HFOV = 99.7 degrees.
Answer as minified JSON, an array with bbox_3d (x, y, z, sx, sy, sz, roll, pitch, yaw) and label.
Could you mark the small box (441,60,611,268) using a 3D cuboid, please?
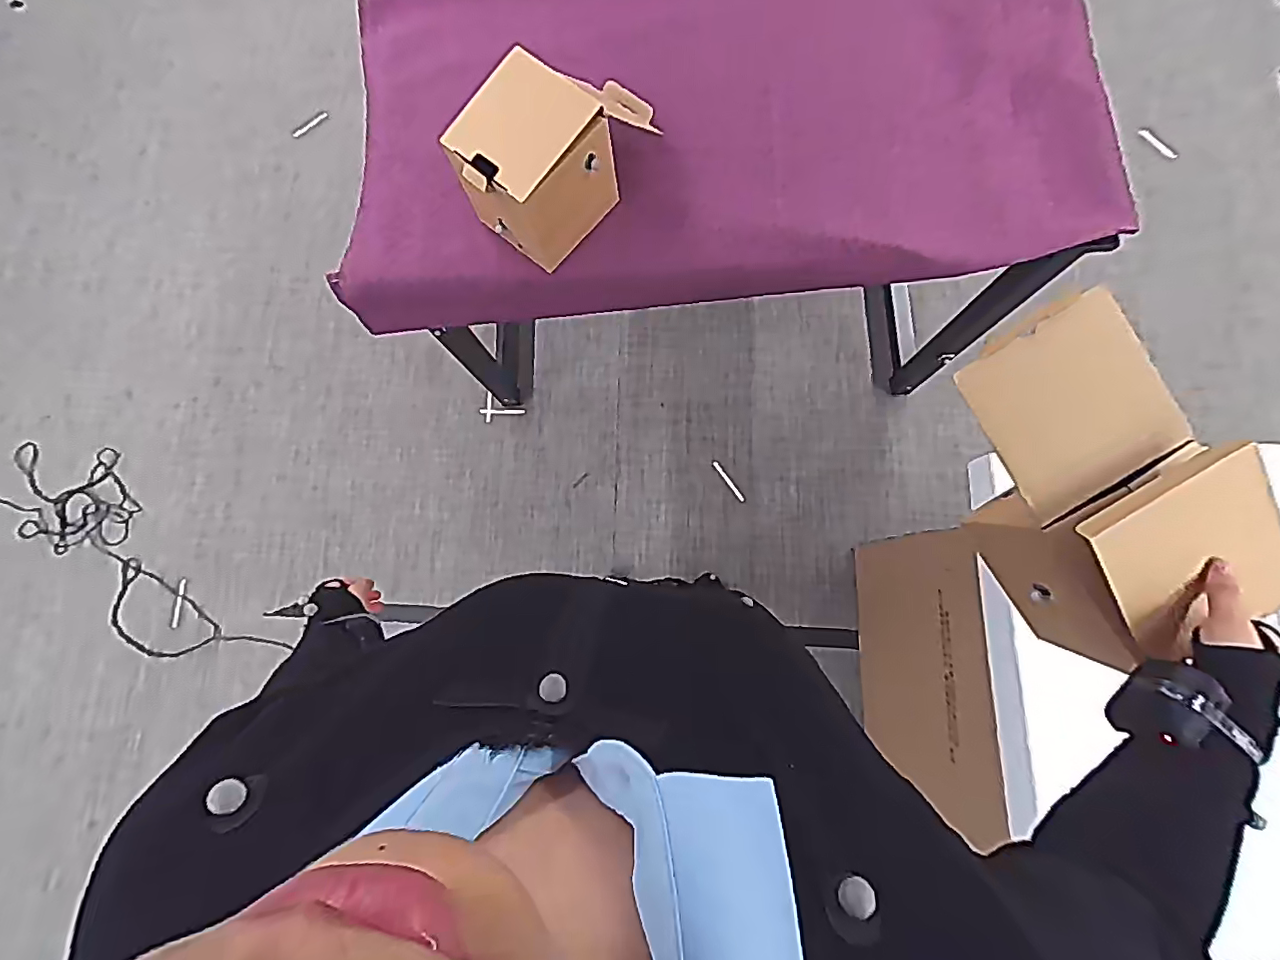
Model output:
[{"bbox_3d":[-0.158,-0.469,0.825,0.168,0.176,0.179,40,84,11],"label":"small box"}]
